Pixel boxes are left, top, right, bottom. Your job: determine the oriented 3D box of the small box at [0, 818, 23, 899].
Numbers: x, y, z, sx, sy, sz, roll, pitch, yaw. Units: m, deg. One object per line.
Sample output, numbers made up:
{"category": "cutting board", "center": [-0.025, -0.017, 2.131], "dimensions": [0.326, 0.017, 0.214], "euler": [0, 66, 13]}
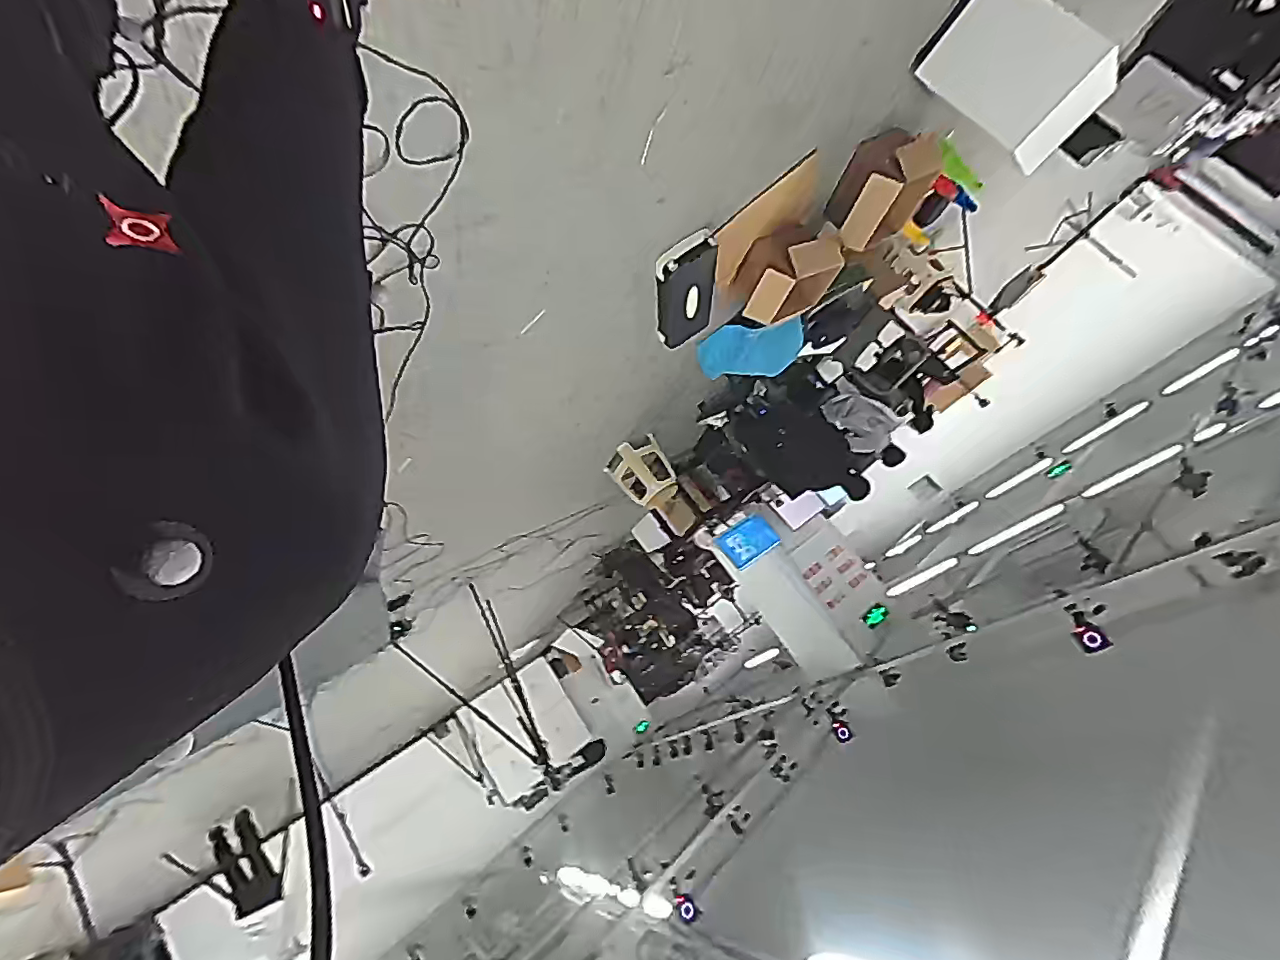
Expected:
{"category": "small box", "center": [-1.447, 0.824, 1.101], "dimensions": [0.168, 0.176, 0.179], "euler": [-29, 164, -26]}
